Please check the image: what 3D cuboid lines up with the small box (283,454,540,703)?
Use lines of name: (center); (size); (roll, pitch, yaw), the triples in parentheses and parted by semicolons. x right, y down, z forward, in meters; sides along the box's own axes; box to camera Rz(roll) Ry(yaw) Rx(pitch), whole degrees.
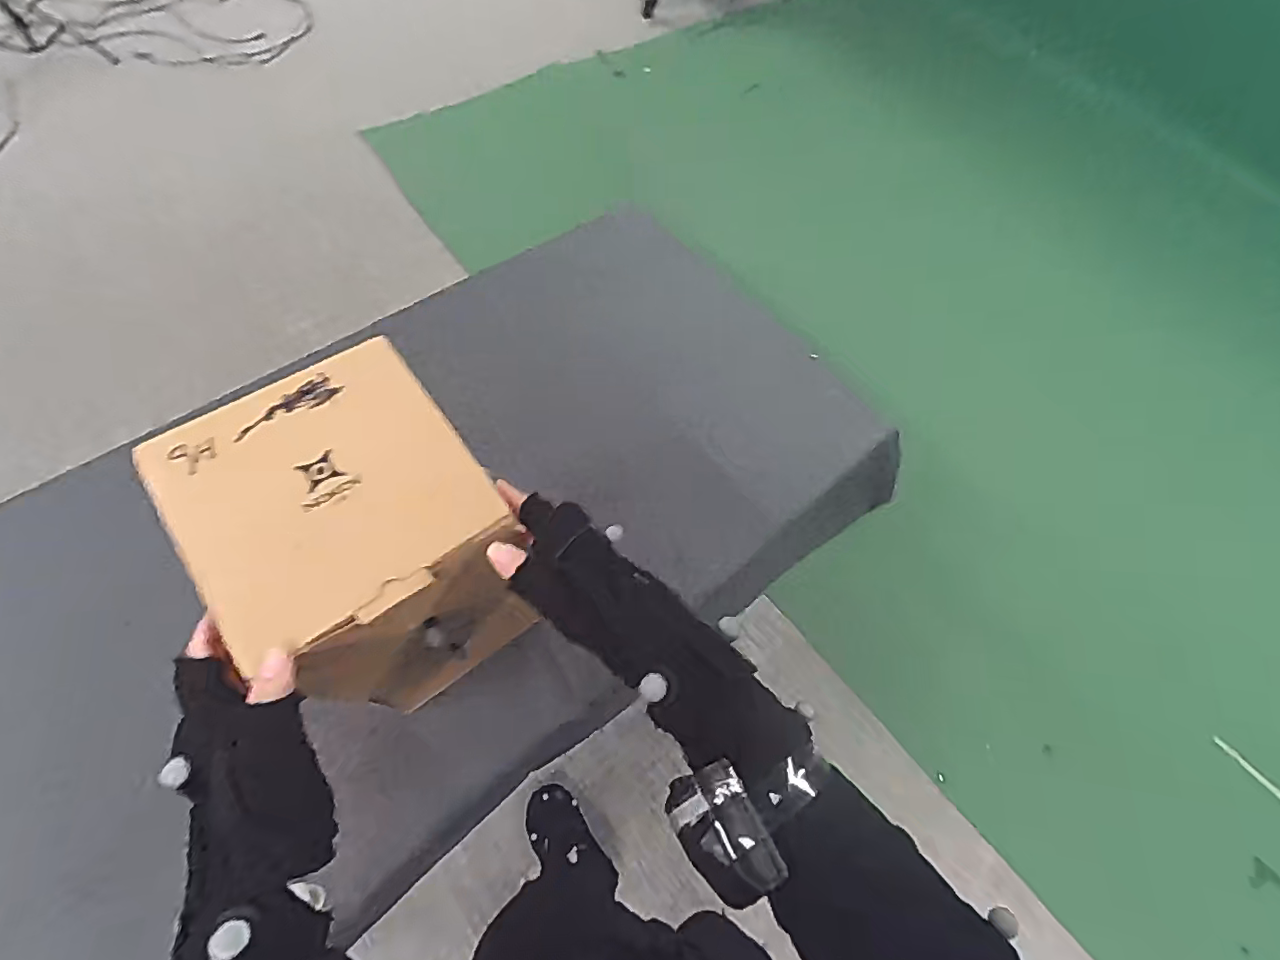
small box: (-0.220, 0.111, 0.569); (0.179, 0.176, 0.168); (-34, 72, -22)
